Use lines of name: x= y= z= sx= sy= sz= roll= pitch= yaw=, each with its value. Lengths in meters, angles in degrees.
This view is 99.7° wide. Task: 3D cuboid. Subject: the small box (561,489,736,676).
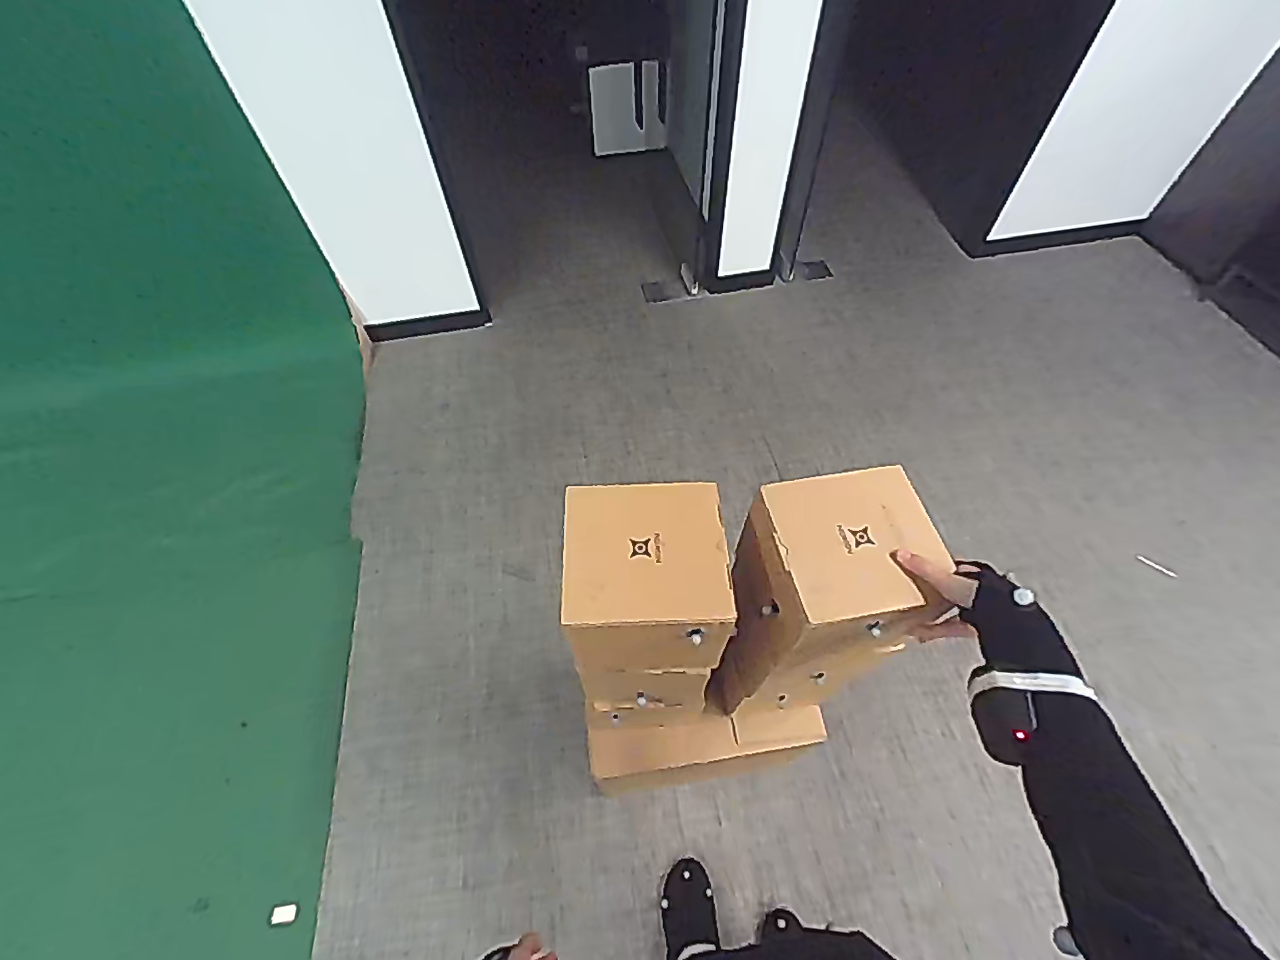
small box: x=0.007 y=0.127 z=0.642 sx=0.179 sy=0.176 sz=0.168 roll=-2 pitch=55 yaw=-2
